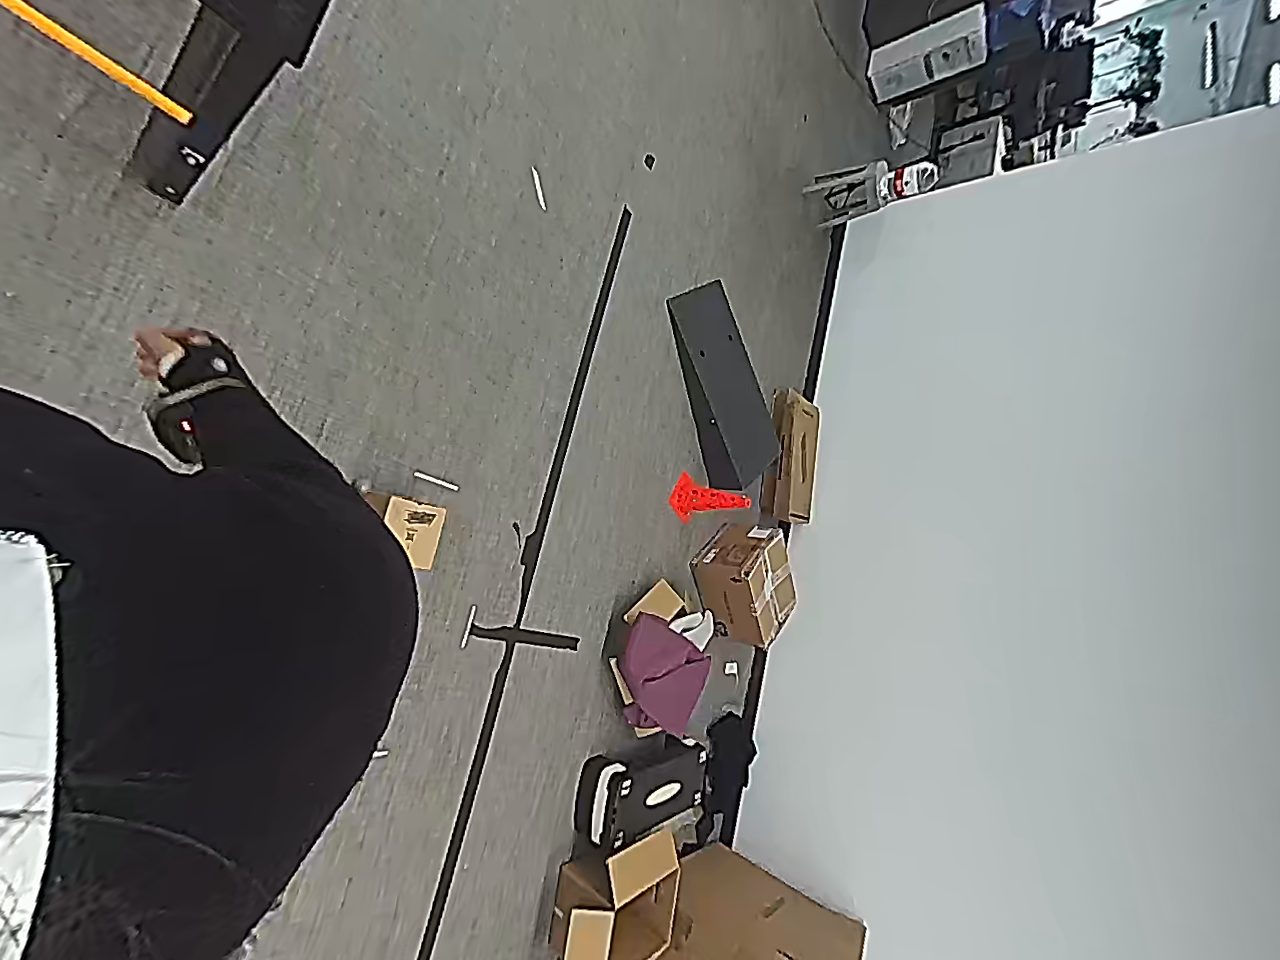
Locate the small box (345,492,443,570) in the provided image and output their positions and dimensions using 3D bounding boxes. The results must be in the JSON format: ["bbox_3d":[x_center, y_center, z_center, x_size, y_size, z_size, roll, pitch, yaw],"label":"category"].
[{"bbox_3d":[-0.674,0.136,1.478,0.168,0.176,0.179,23,76,-49],"label":"small box"}]
